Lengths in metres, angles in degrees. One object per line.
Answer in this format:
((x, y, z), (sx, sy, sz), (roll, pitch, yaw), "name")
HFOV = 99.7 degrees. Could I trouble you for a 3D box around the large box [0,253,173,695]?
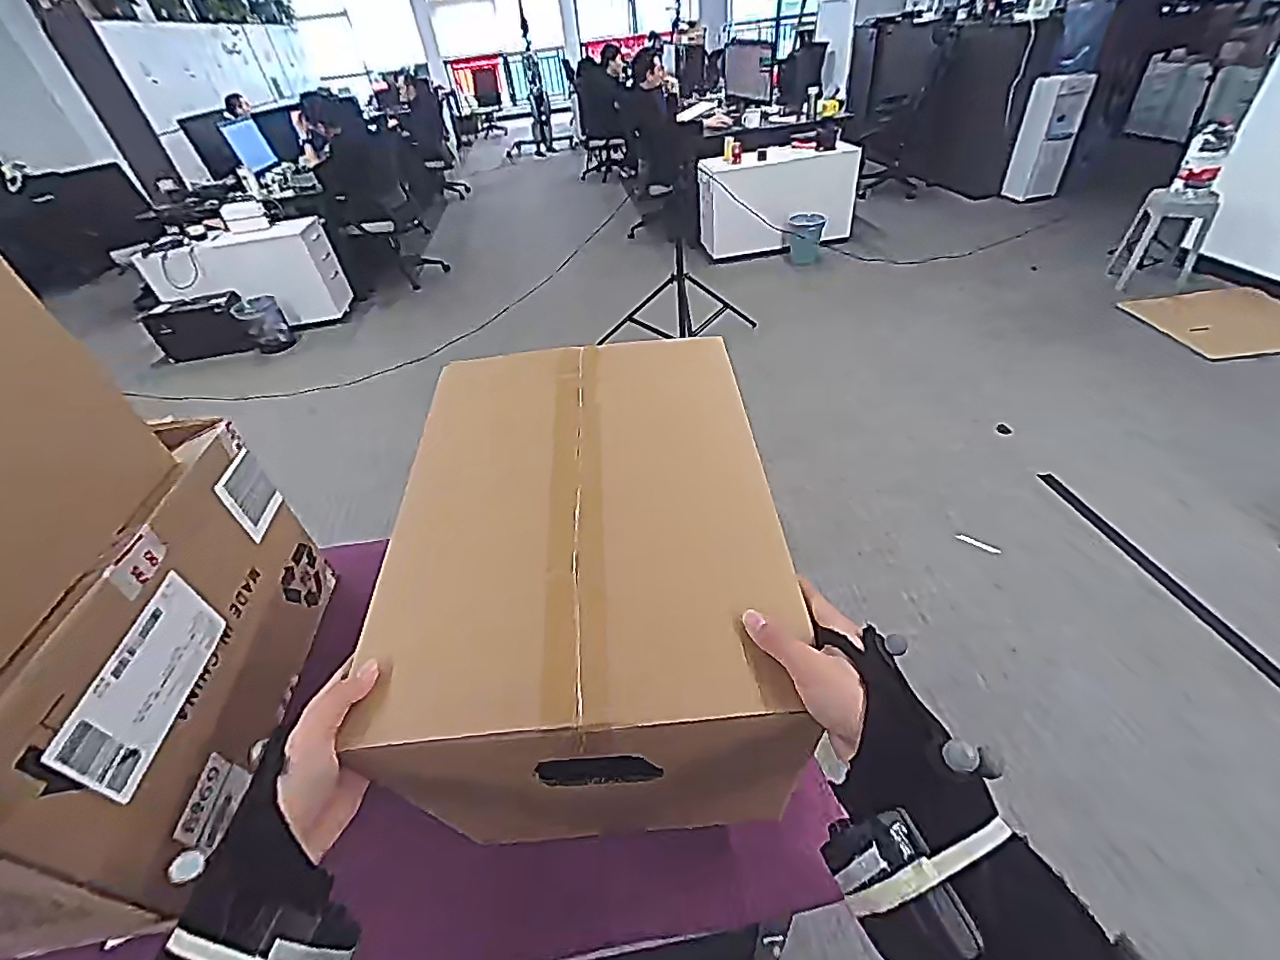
((-0.709, 0.016, 0.428), (0.320, 0.320, 0.408), (-11, 41, -2), "large box")
